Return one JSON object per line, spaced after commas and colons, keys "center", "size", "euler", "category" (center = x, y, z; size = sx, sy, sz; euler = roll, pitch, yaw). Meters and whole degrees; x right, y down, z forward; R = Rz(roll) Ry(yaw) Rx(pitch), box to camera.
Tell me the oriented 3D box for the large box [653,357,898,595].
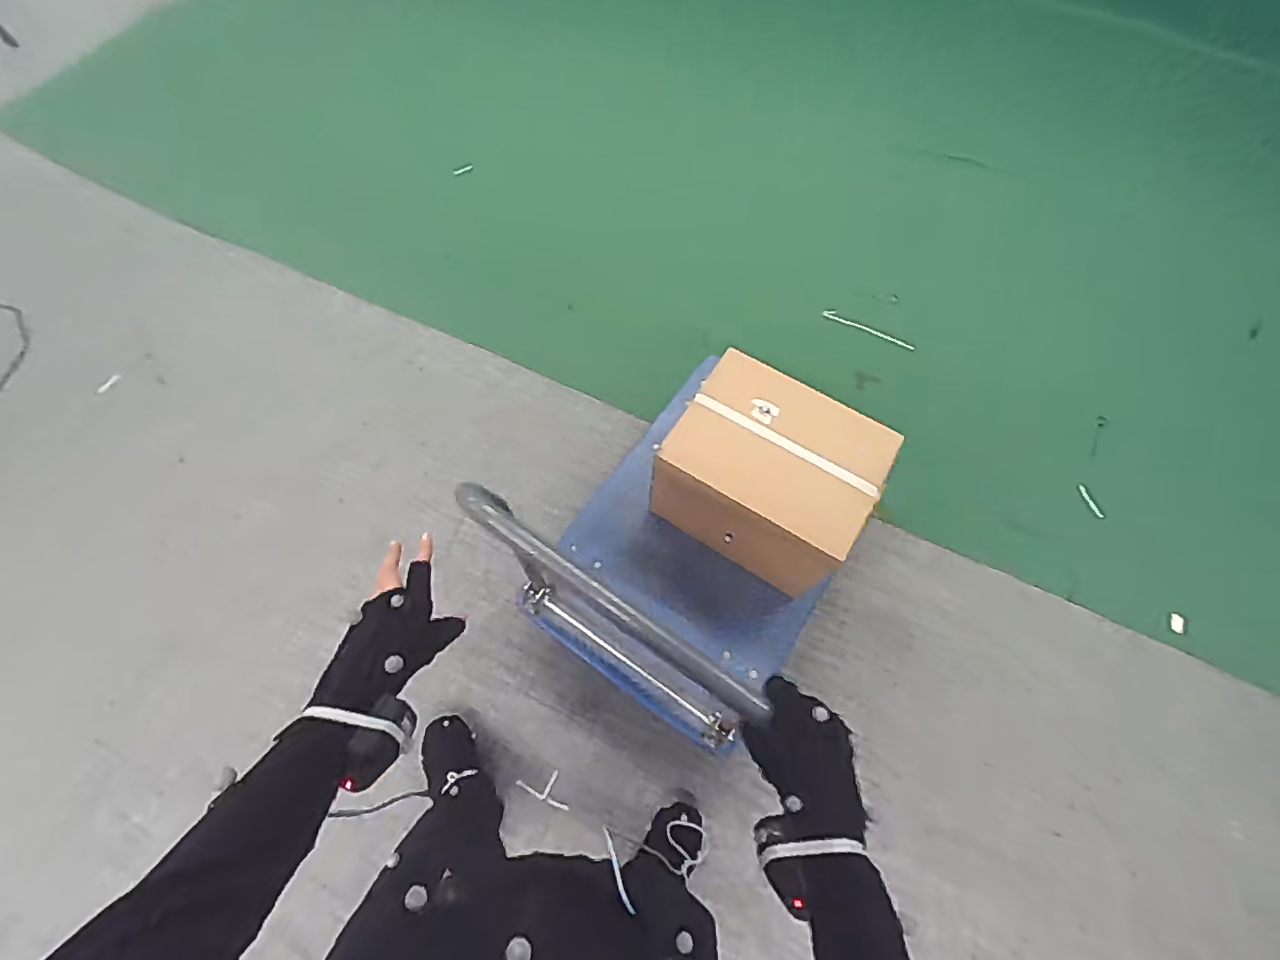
{"center": [0.278, 0.002, 1.217], "size": [0.408, 0.320, 0.320], "euler": [30, 67, 12], "category": "large box"}
